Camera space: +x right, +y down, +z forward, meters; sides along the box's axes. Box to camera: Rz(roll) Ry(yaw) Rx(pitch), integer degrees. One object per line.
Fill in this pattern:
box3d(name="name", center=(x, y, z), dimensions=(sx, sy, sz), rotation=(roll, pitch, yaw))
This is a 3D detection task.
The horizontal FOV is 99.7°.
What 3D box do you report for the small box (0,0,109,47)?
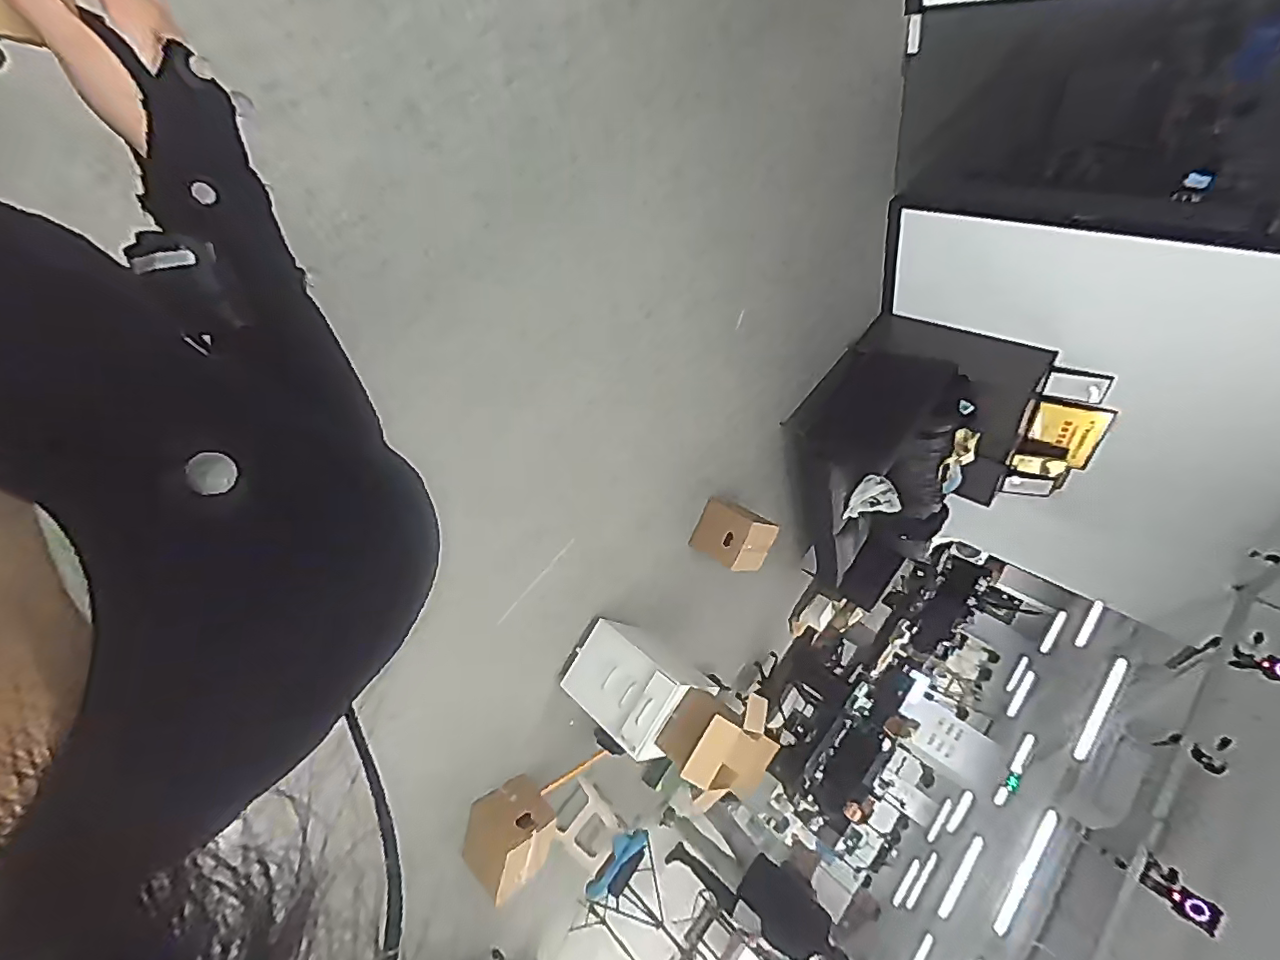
box3d(name="small box", center=(-0.422, -0.350, 0.276), dimensions=(0.179, 0.176, 0.168), rotation=(-18, 130, -42))
